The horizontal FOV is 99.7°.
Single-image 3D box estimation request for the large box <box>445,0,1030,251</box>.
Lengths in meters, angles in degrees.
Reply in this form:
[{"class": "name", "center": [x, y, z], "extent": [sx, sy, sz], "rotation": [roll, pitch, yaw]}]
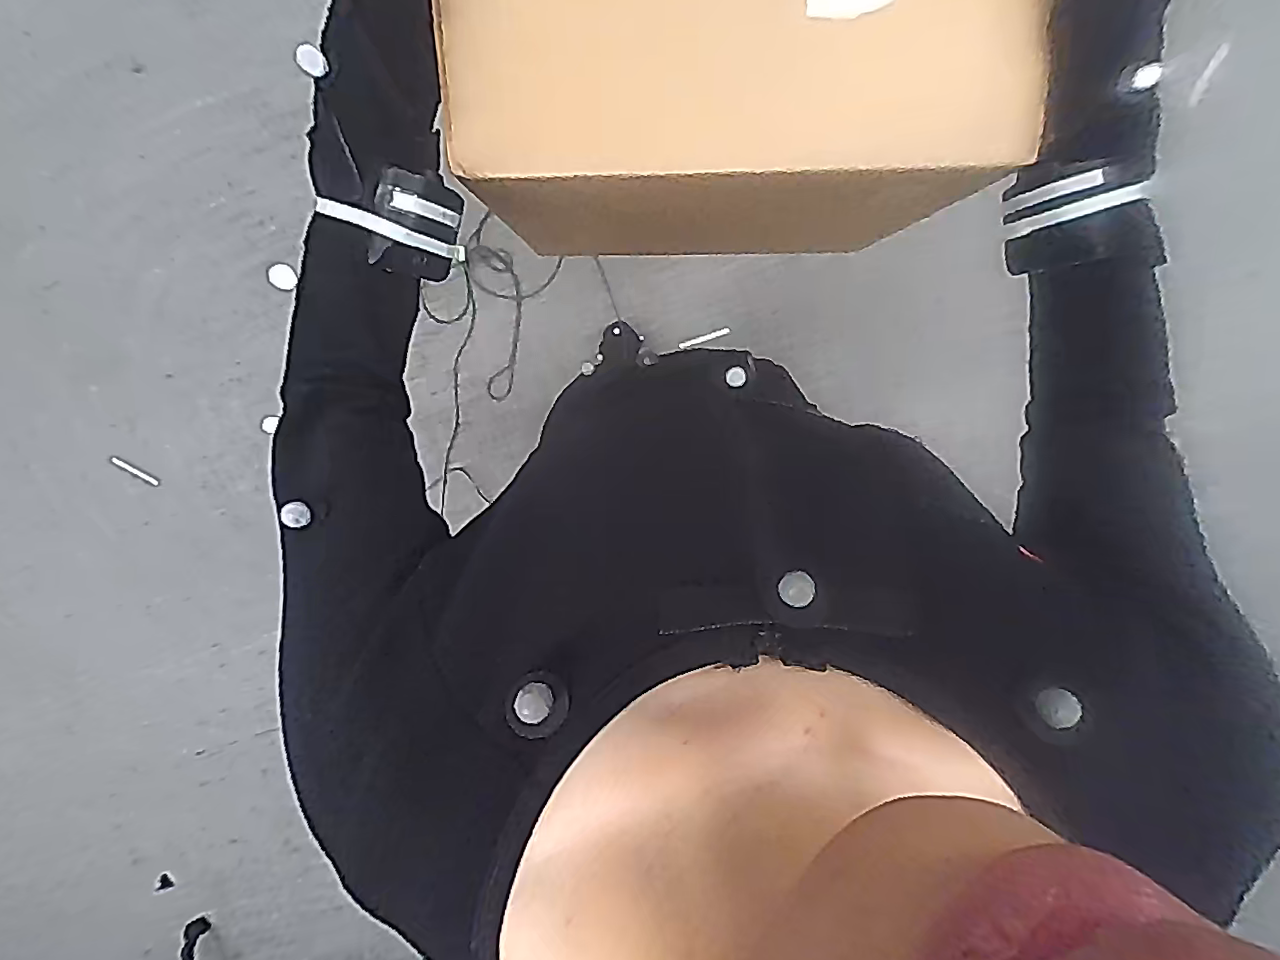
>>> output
[{"class": "large box", "center": [0.062, -0.410, 0.498], "extent": [0.408, 0.320, 0.320], "rotation": [-1, 103, 0]}]
